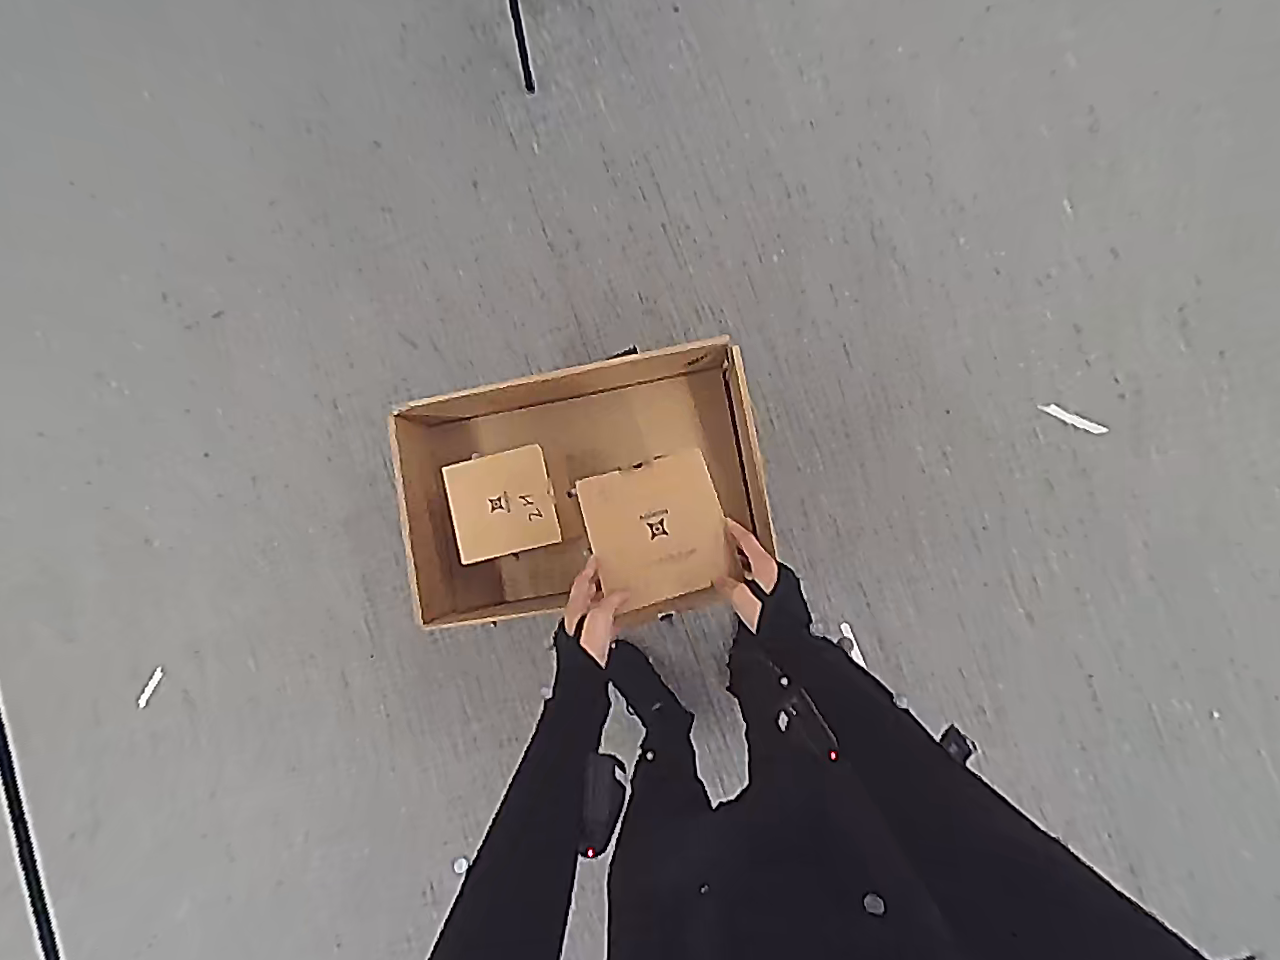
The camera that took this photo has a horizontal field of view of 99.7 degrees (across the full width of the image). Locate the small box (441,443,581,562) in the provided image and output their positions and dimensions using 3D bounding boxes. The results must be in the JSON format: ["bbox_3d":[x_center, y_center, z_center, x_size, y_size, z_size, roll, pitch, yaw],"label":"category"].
[{"bbox_3d":[-0.219,0.042,0.955,0.179,0.176,0.168,-14,86,5],"label":"small box"}]

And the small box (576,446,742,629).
[{"bbox_3d":[0.022,0.084,0.723,0.168,0.176,0.179,-16,68,-3],"label":"small box"}]
